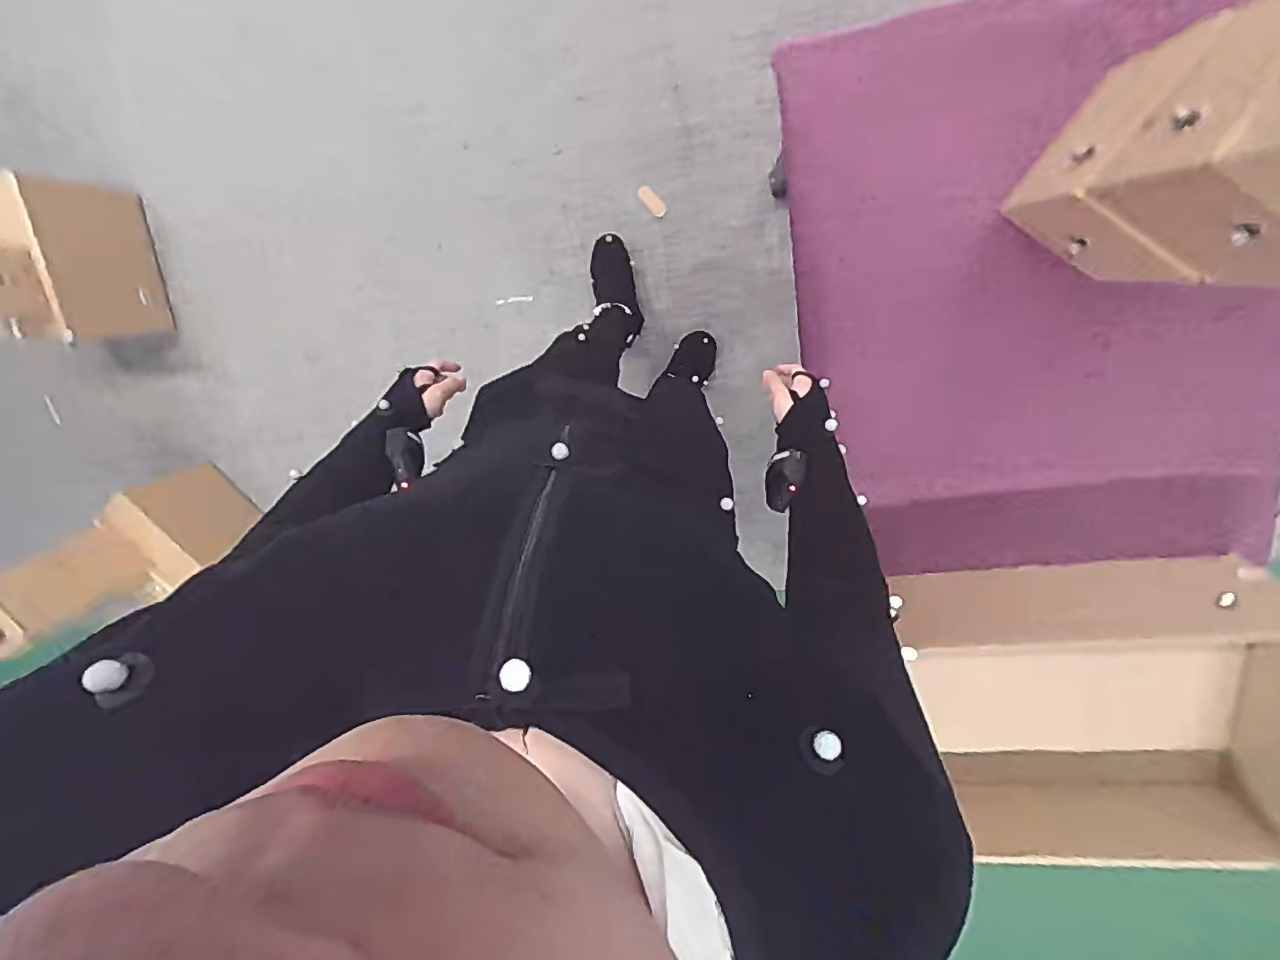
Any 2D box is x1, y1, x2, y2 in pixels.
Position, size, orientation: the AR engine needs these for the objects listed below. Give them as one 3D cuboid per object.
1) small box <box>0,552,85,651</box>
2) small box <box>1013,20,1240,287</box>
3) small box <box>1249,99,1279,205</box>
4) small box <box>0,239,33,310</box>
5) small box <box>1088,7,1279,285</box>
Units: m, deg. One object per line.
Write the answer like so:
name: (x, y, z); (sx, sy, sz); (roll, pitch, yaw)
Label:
small box: (-1.648, 0.321, 1.426); (0.168, 0.176, 0.179); (-30, 103, 17)
small box: (0.565, -0.340, 0.605); (0.168, 0.176, 0.179); (33, 111, -6)
small box: (0.528, -0.226, 0.304); (0.168, 0.176, 0.179); (32, 112, -4)
small box: (-1.638, -0.493, 1.300); (0.179, 0.176, 0.168); (0, 110, 6)
small box: (0.548, -0.278, 0.455); (0.179, 0.176, 0.168); (33, 113, -5)
